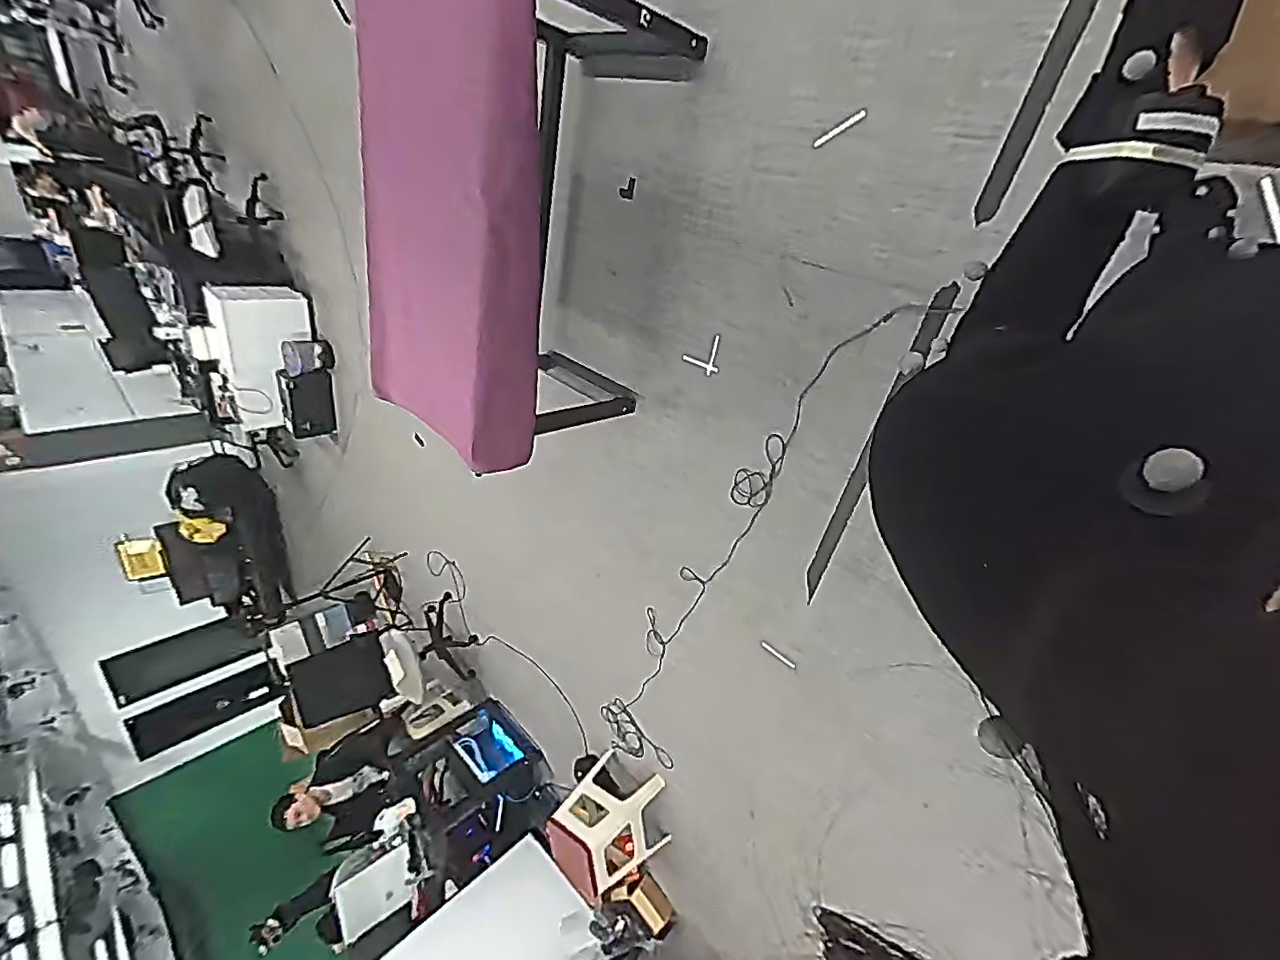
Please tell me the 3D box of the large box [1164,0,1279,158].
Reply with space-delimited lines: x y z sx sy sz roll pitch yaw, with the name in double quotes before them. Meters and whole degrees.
"large box" 0.633 -0.368 0.297 0.408 0.320 0.320 31 128 38
